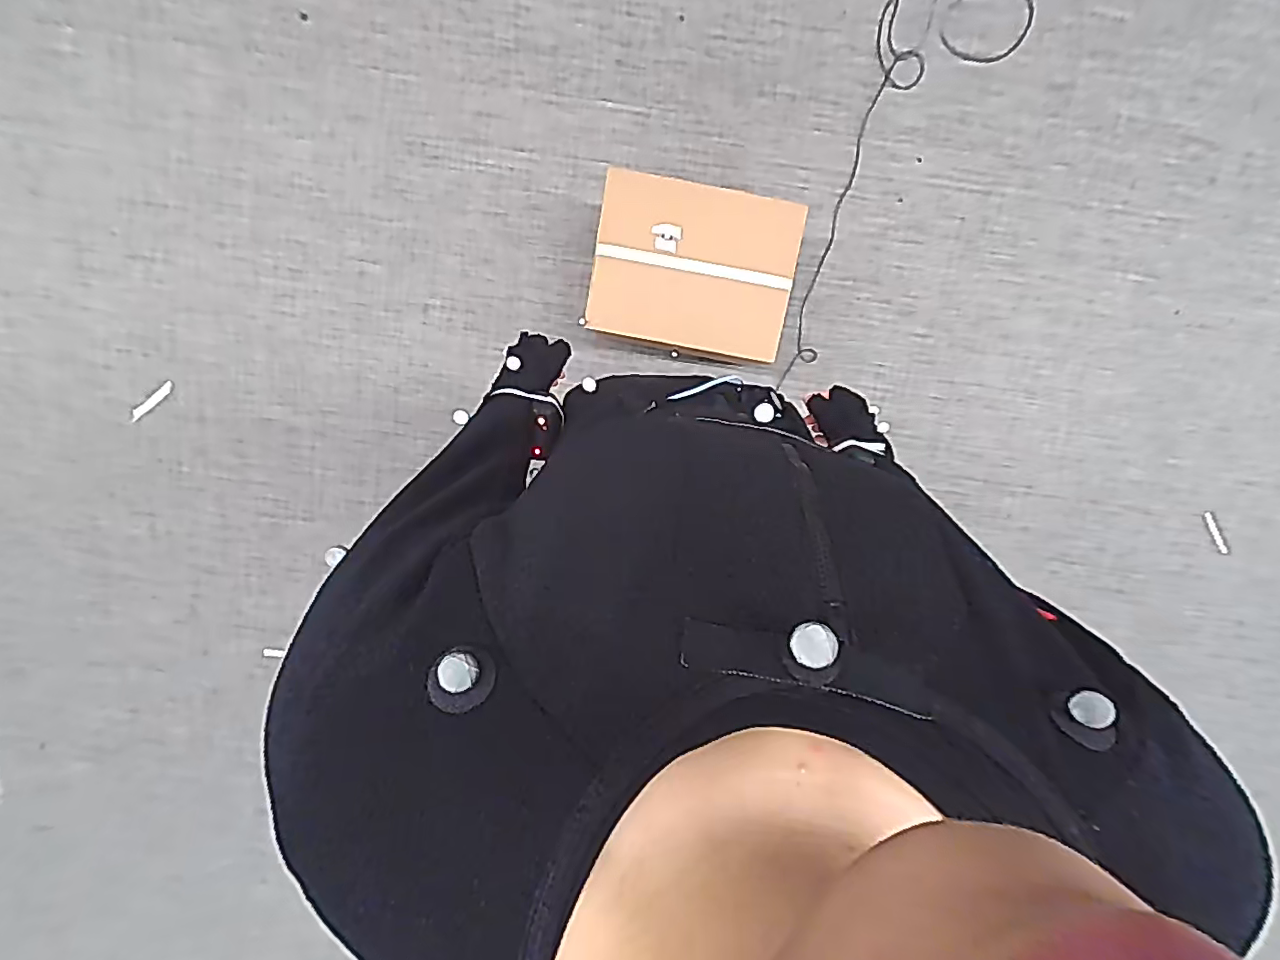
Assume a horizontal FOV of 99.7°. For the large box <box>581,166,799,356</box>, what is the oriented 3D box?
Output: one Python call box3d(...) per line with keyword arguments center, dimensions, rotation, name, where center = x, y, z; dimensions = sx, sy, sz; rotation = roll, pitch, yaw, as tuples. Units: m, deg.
box3d(center=(0.101, -0.471, 1.242), dimensions=(0.408, 0.320, 0.320), rotation=(10, 101, -1), name="large box")
